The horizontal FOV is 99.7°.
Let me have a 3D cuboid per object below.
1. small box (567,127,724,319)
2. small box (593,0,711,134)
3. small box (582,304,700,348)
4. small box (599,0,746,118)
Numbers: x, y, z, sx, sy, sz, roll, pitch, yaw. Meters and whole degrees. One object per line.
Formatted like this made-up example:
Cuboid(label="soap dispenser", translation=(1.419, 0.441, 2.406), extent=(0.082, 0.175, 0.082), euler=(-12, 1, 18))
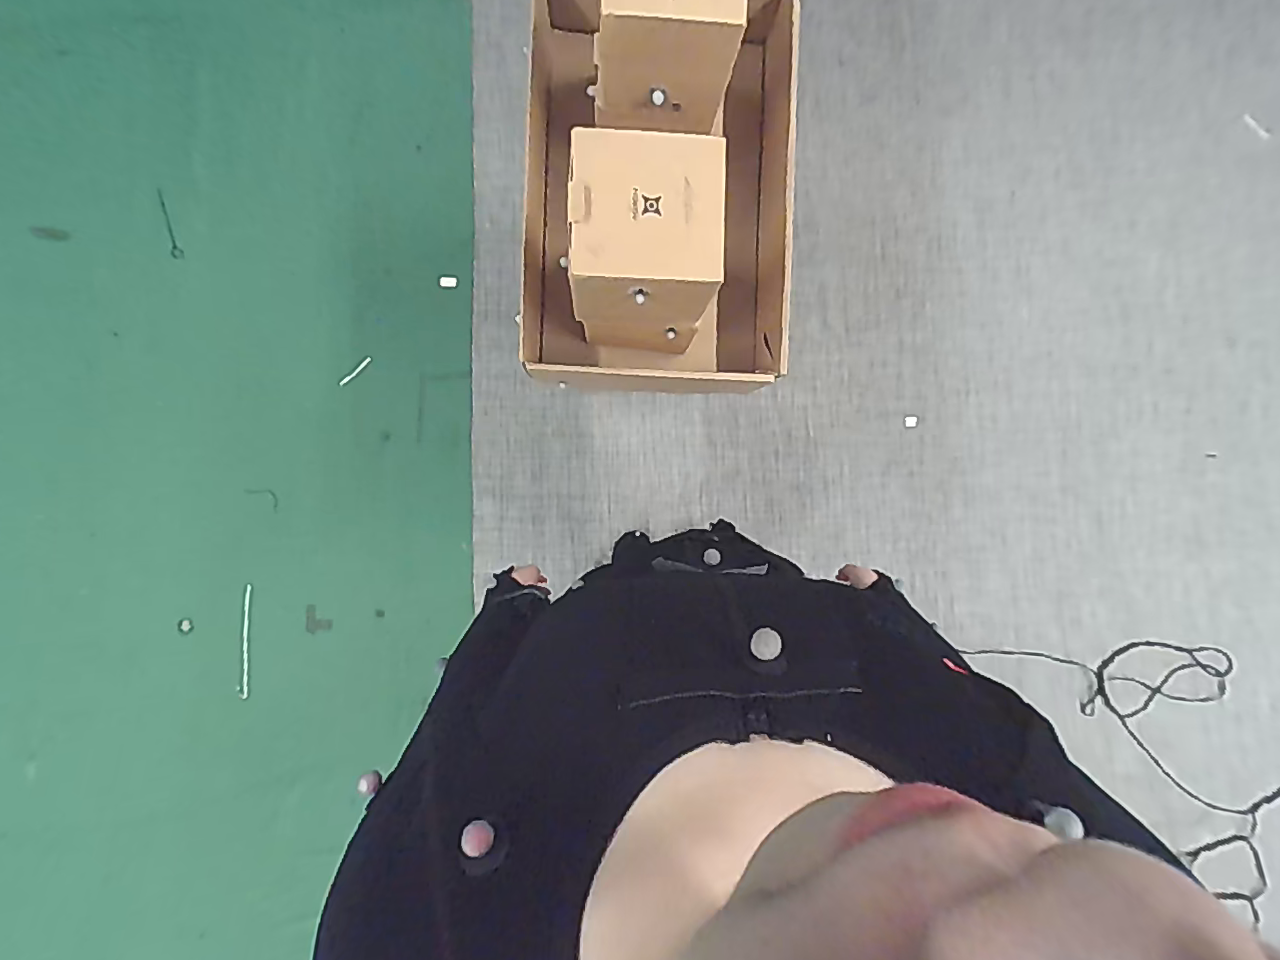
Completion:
Cuboid(label="small box", translation=(0.001, -0.309, 0.684), extent=(0.179, 0.176, 0.168), euler=(1, 91, -5))
Cuboid(label="small box", translation=(0.021, -0.609, 0.841), extent=(0.179, 0.176, 0.168), euler=(3, 92, -3))
Cuboid(label="small box", translation=(0.000, -0.313, 0.846), extent=(0.179, 0.176, 0.168), euler=(5, 90, -4))
Cuboid(label="small box", translation=(0.034, -0.601, 0.678), extent=(0.168, 0.176, 0.179), euler=(2, 92, -4))
